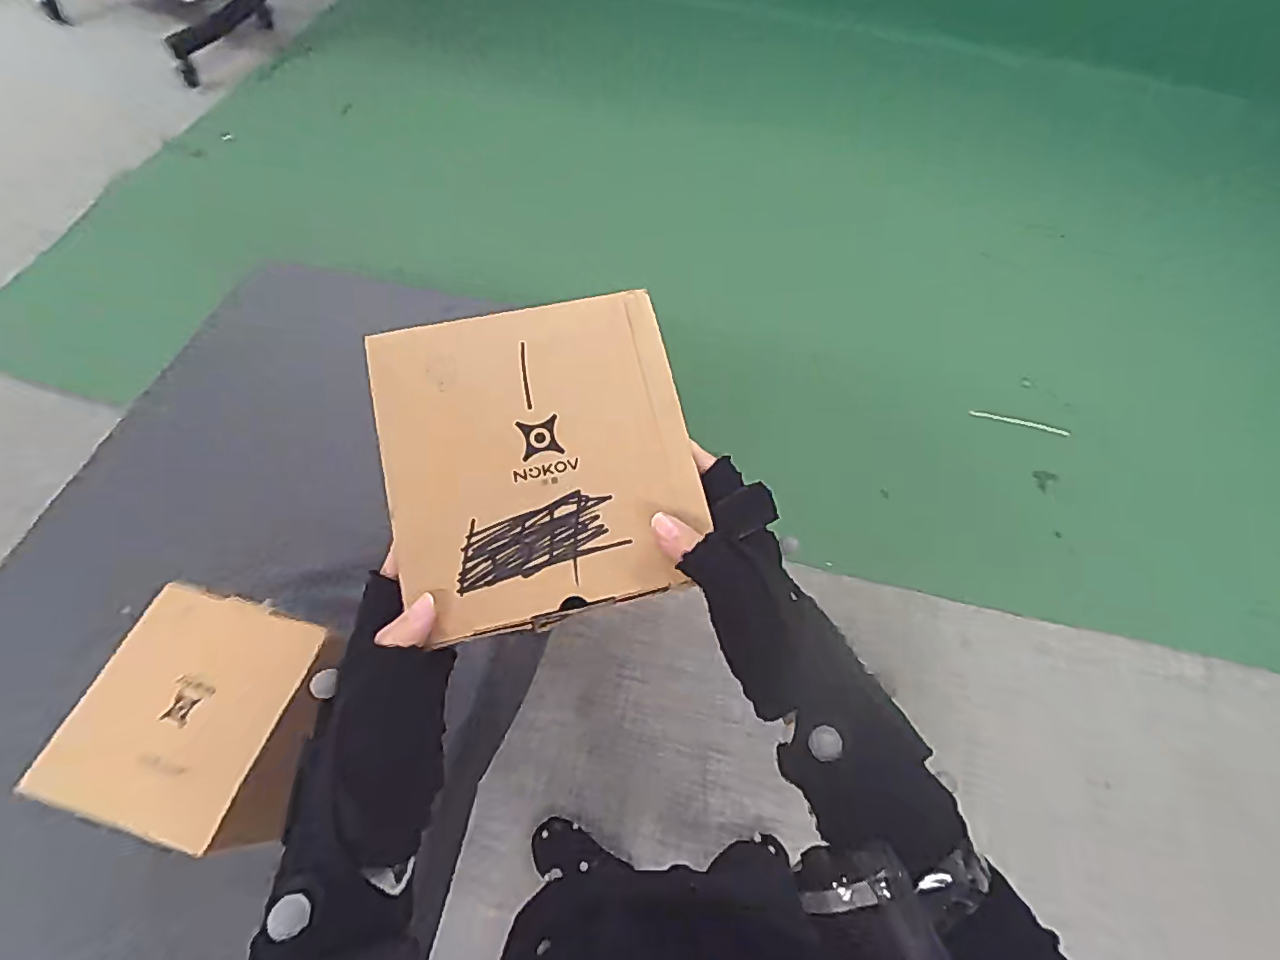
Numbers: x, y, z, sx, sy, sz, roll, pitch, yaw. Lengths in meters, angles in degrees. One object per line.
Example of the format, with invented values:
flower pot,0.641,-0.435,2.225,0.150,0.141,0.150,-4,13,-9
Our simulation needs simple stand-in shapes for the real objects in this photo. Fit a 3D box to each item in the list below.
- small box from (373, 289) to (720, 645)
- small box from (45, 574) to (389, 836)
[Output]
small box,-0.059,0.000,0.383,0.168,0.176,0.179,-15,80,-7
small box,-0.378,0.217,0.531,0.168,0.176,0.179,13,63,7
